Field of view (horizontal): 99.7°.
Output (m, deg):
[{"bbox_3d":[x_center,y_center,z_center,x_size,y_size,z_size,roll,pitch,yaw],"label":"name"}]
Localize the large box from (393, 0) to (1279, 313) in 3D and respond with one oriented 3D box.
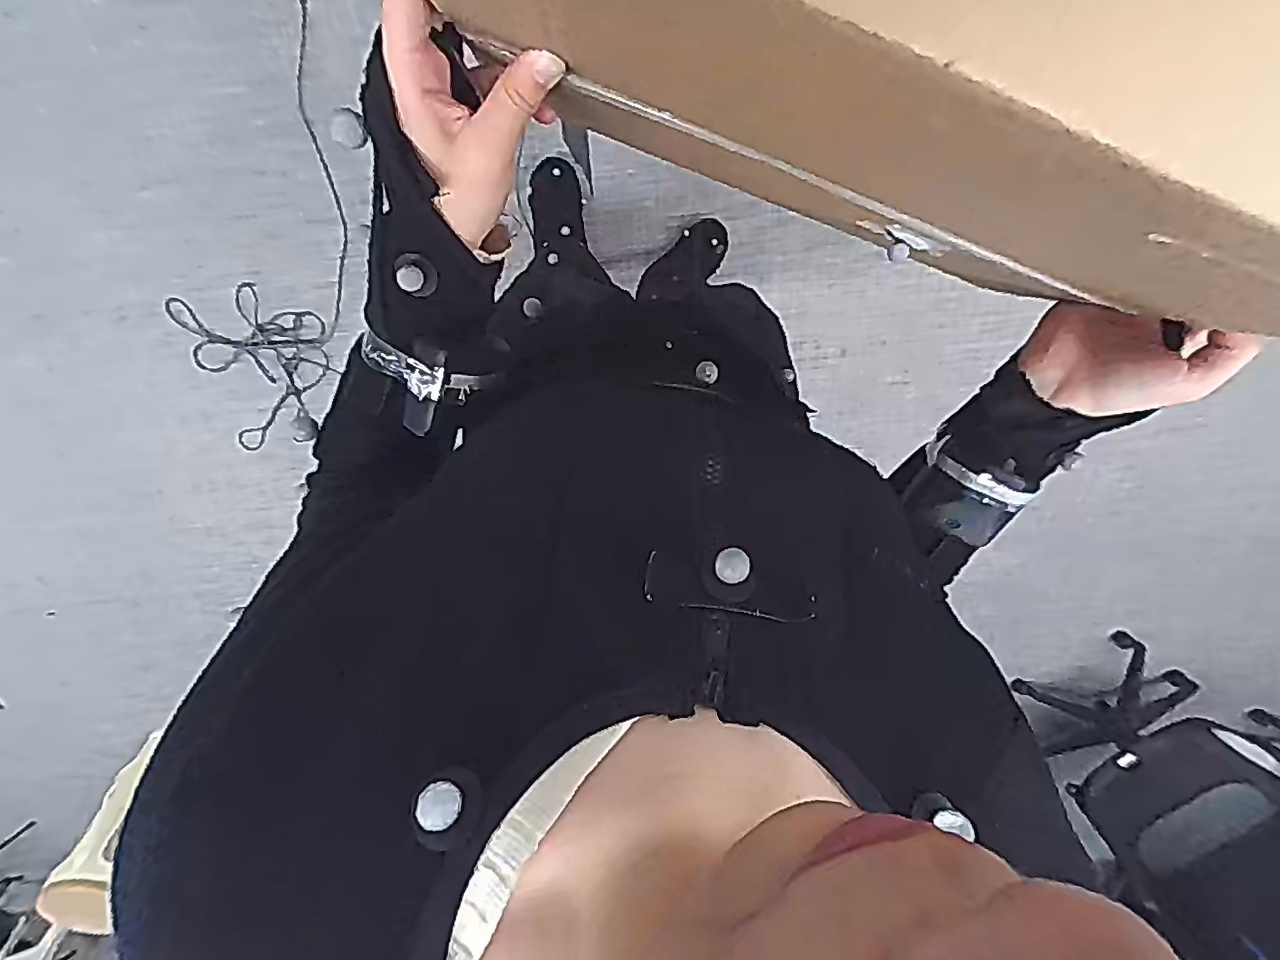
[{"bbox_3d":[0.133,-0.287,0.208,0.408,0.320,0.320,14,115,-10],"label":"large box"}]
